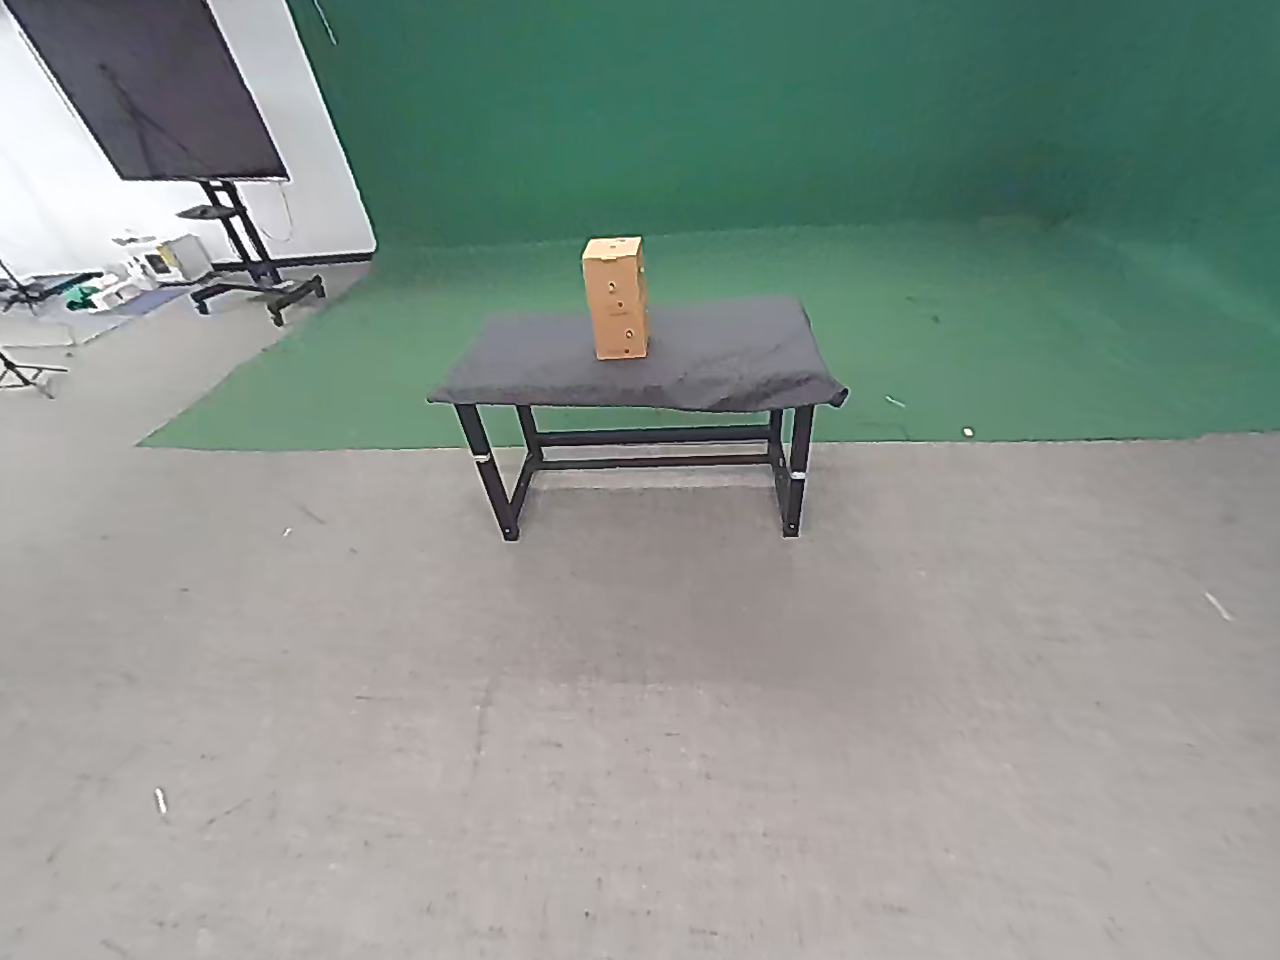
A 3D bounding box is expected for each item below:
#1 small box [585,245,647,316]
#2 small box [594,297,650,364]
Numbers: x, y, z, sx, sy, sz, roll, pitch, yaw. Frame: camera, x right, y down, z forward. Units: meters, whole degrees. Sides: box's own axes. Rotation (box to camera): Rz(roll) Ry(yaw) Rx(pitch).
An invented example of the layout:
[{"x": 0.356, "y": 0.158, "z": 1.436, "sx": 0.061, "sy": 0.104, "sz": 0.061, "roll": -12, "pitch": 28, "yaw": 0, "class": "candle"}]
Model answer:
[{"x": -0.069, "y": -0.630, "z": 1.720, "sx": 0.168, "sy": 0.176, "sz": 0.179, "roll": 1, "pitch": 41, "yaw": 6, "class": "small box"}, {"x": -0.054, "y": -0.501, "z": 1.820, "sx": 0.168, "sy": 0.176, "sz": 0.179, "roll": 0, "pitch": 39, "yaw": 5, "class": "small box"}]
